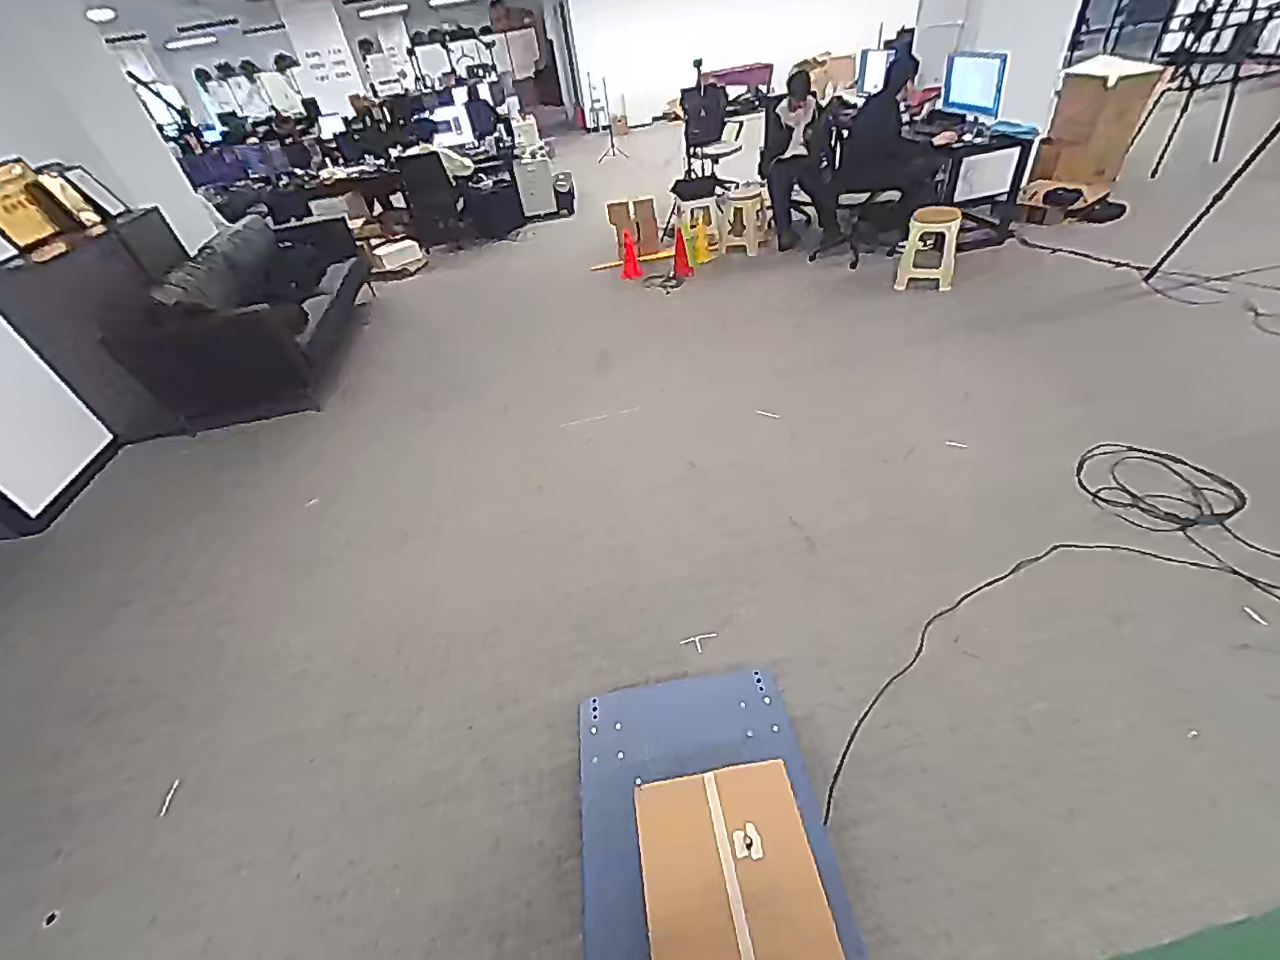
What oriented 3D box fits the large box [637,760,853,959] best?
[{"bbox_3d":[0.190,0.833,1.036,0.320,0.320,0.408,-10,39,-1],"label":"large box"}]
